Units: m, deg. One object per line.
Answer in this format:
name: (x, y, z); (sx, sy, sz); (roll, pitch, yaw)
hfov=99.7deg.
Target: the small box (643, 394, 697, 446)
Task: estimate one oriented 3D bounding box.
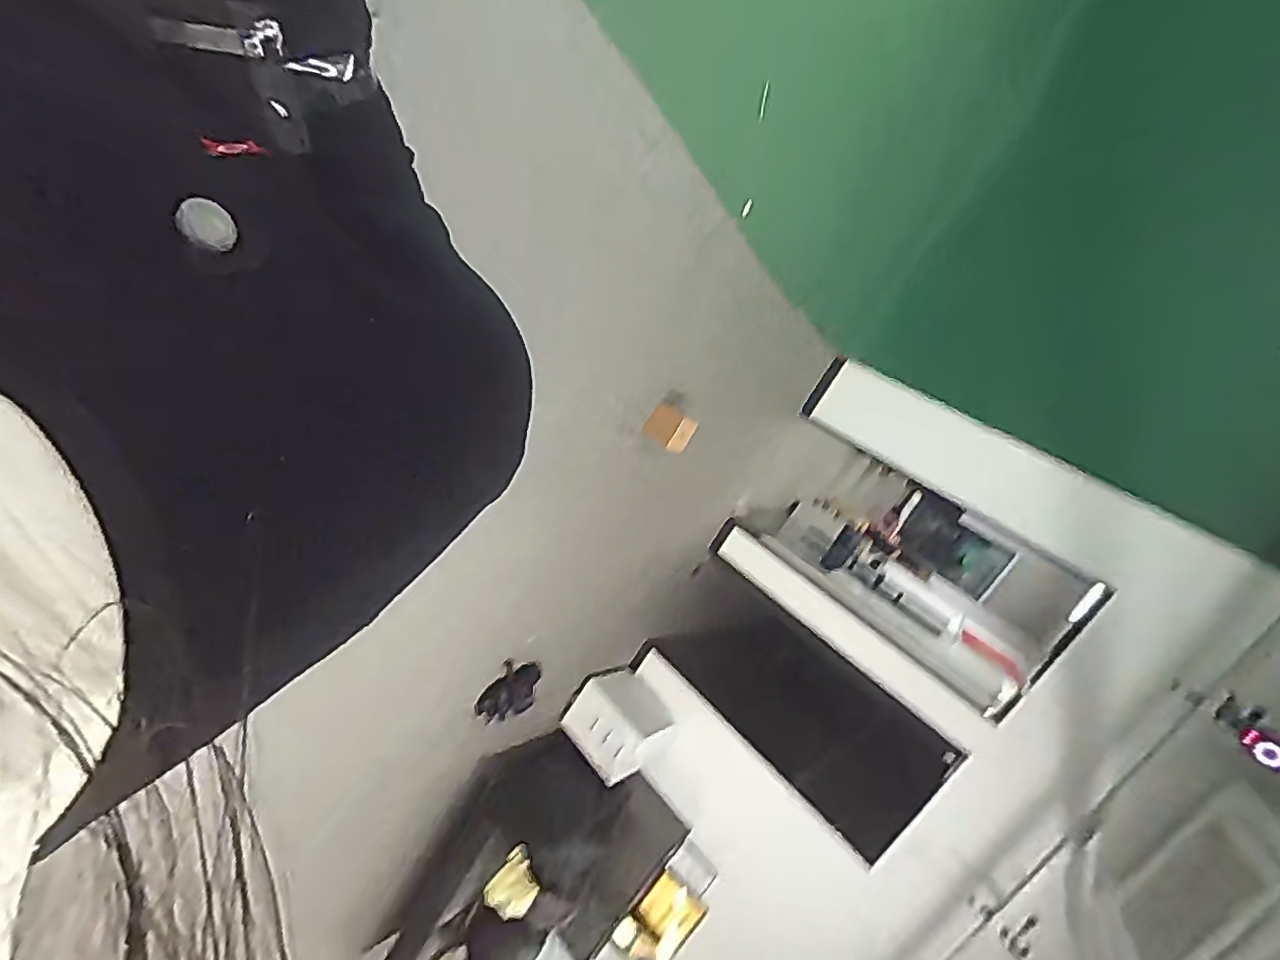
small box: (0.141, -0.290, 2.623); (0.168, 0.176, 0.179); (8, 115, -58)
